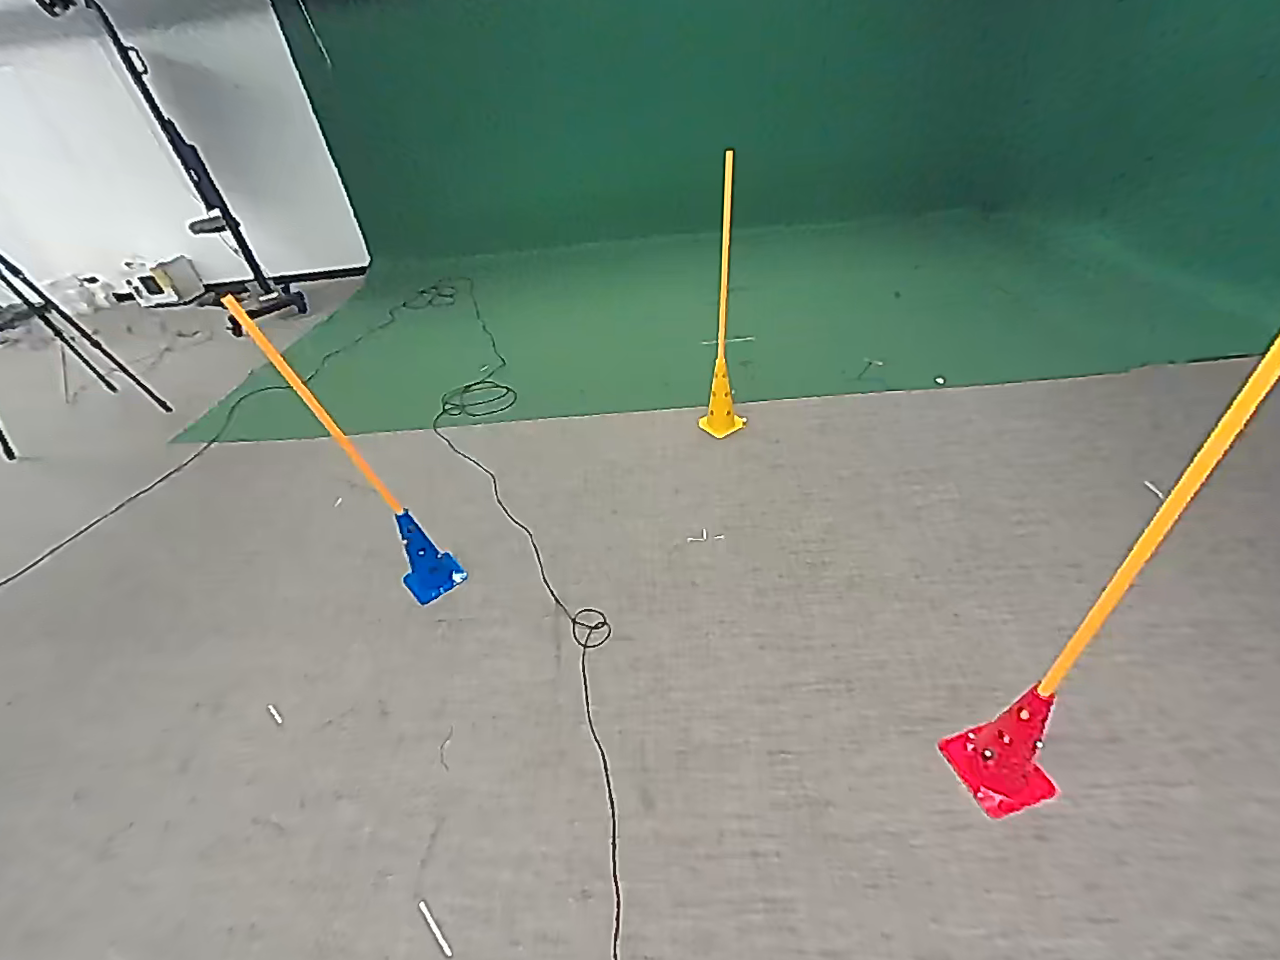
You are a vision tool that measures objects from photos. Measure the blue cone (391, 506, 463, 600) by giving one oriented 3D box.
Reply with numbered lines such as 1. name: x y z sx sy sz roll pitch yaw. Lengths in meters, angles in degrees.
1. blue cone: -0.820 0.248 1.990 0.193 0.380 0.192 -36 47 -28
